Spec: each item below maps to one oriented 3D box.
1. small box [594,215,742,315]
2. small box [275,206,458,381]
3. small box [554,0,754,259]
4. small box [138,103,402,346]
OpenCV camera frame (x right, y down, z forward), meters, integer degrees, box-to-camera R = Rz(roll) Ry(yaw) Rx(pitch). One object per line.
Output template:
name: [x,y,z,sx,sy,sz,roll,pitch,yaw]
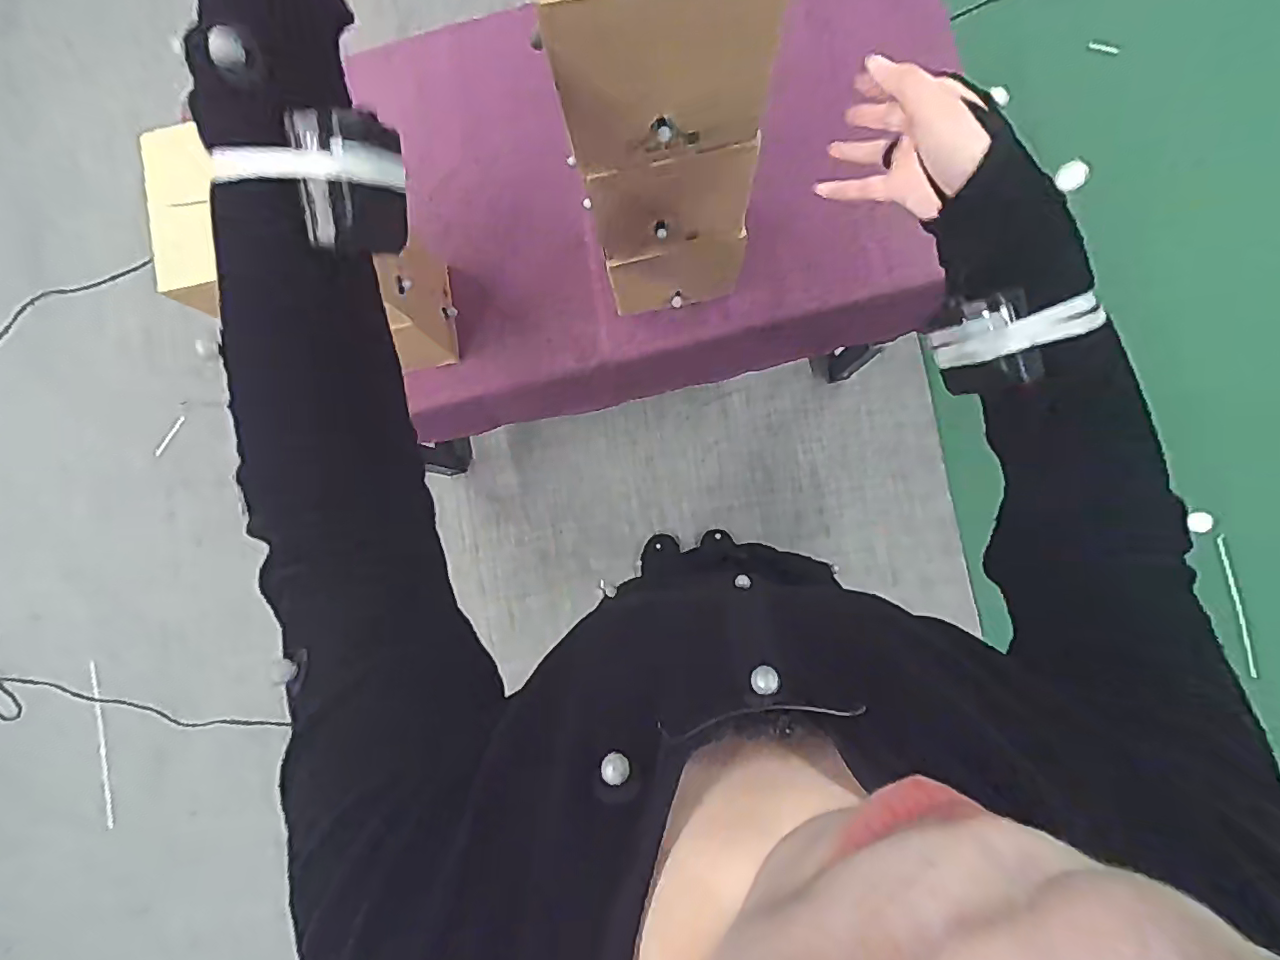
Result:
small box: [0.028,-0.349,0.746,0.179,0.176,0.168,-12,85,2]
small box: [-0.381,-0.248,0.762,0.179,0.176,0.168,-10,86,2]
small box: [0.015,-0.372,0.585,0.168,0.176,0.179,-11,86,3]
small box: [-0.386,-0.264,0.598,0.179,0.176,0.168,-11,86,3]
